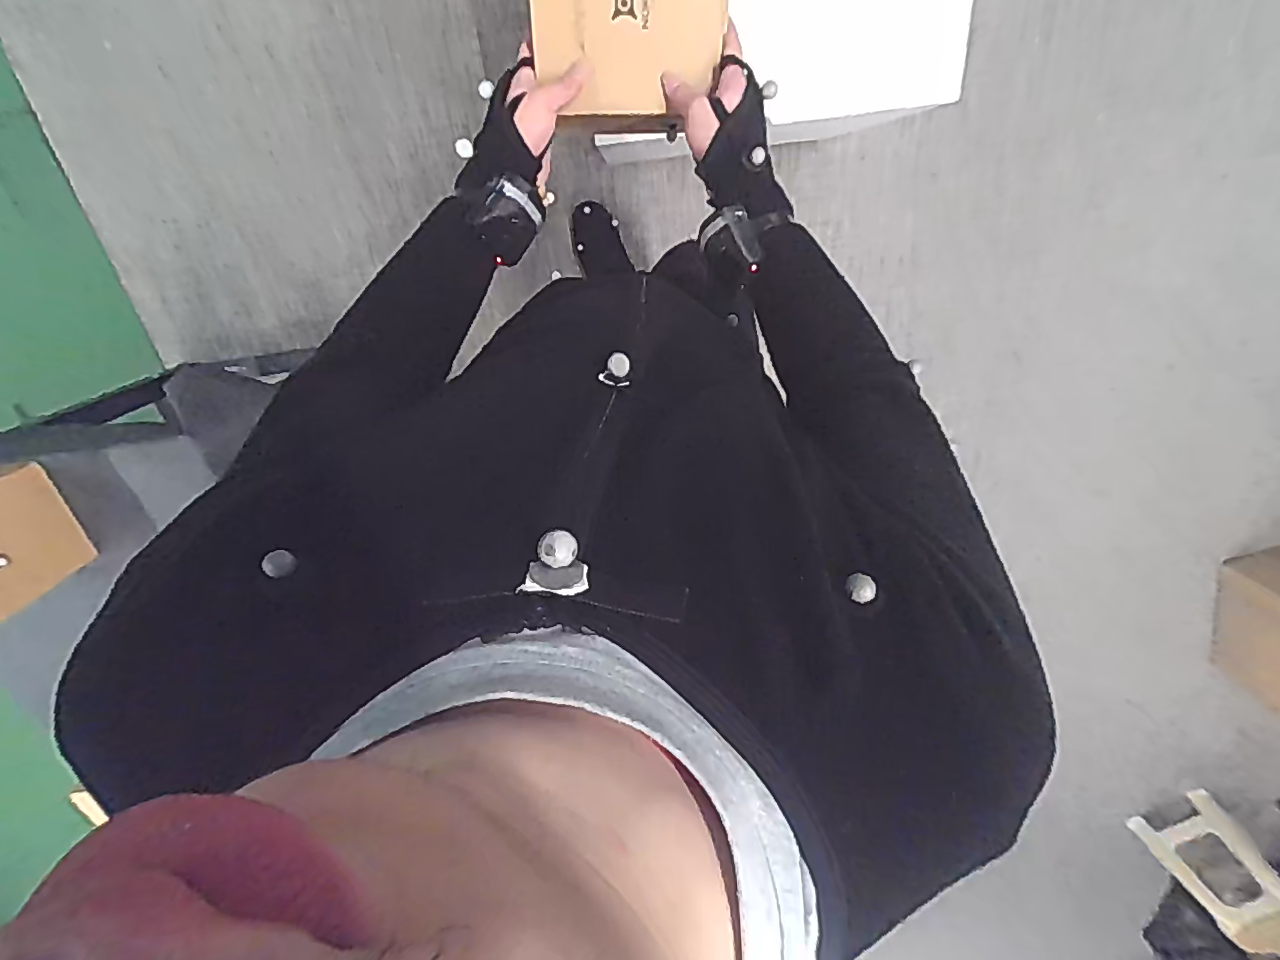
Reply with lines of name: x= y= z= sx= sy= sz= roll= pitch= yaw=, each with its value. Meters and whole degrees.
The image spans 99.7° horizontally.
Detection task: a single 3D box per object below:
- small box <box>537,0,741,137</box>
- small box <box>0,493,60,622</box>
small box: x=-0.004 y=-0.443 z=0.527 sx=0.179 sy=0.176 sz=0.168 roll=-3 pitch=116 yaw=-1
small box: x=-0.970 y=0.126 z=0.729 sx=0.168 sy=0.176 sz=0.179 roll=-6 pitch=116 yaw=-1
